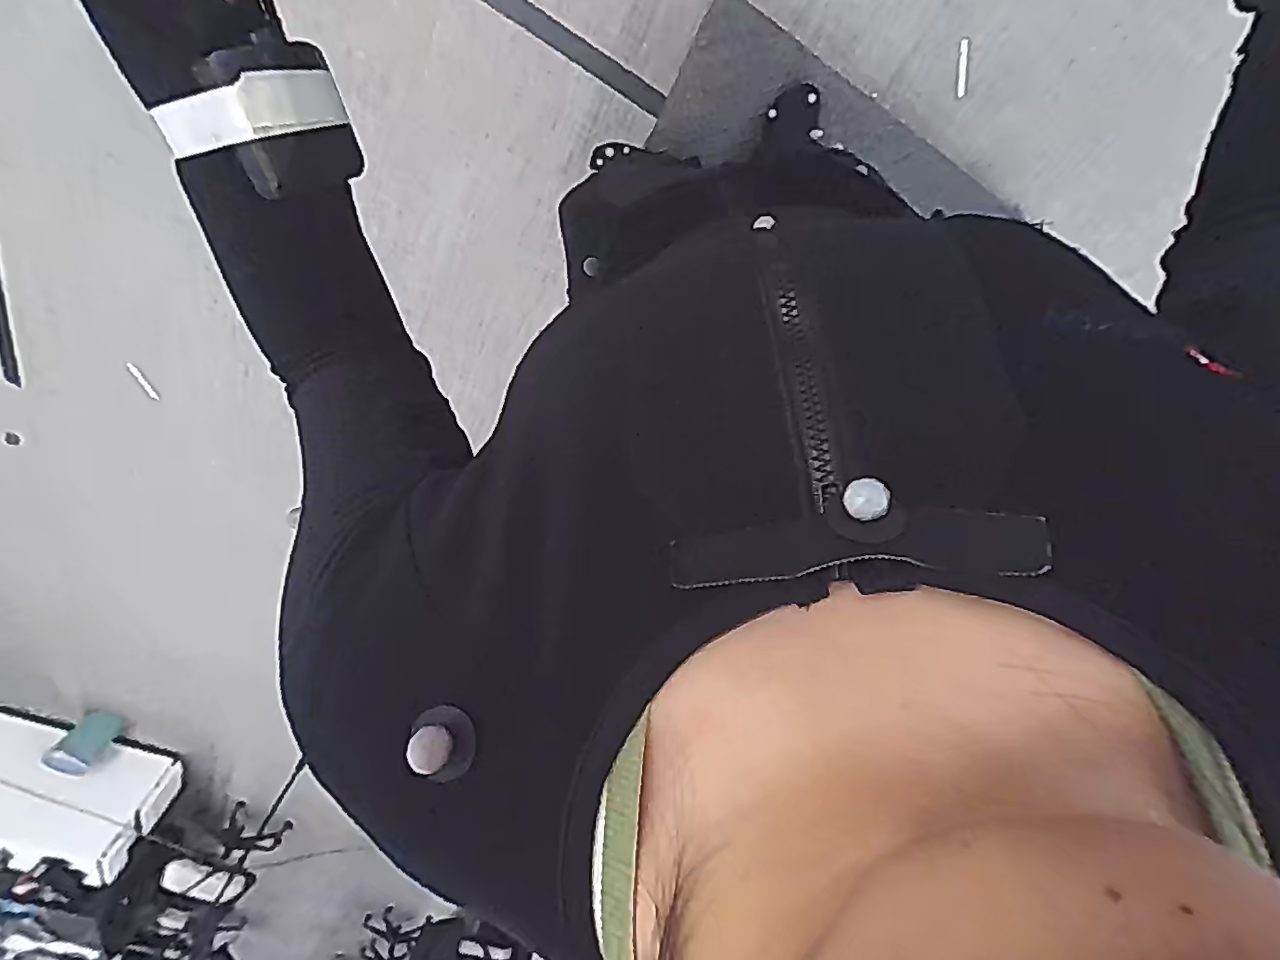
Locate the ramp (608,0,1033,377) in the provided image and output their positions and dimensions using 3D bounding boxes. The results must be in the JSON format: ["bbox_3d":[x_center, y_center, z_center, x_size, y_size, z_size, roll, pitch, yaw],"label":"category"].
[{"bbox_3d":[0.468,-0.631,1.333,0.991,0.206,0.509,24,124,-13],"label":"ramp"}]
